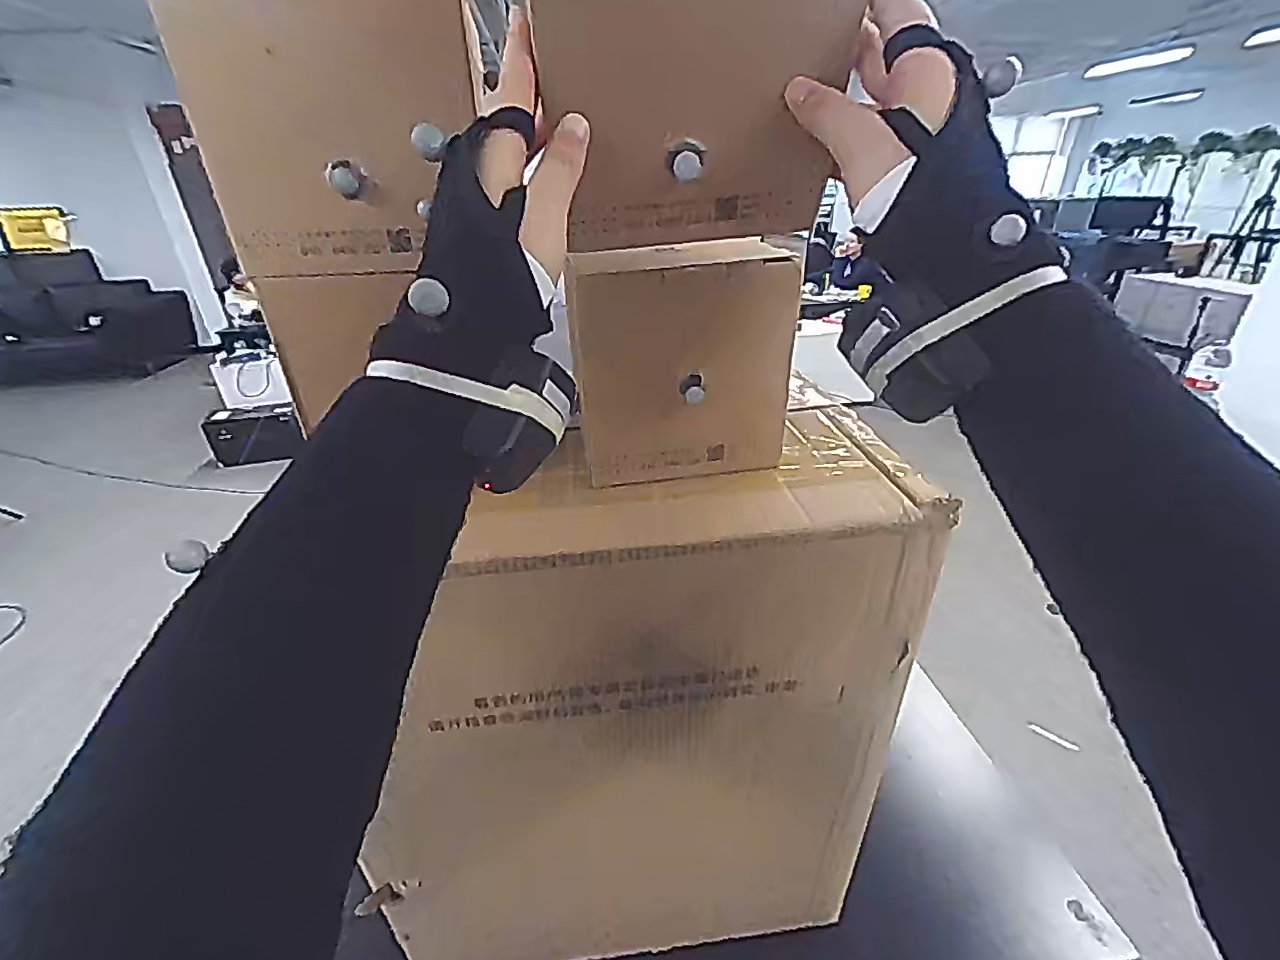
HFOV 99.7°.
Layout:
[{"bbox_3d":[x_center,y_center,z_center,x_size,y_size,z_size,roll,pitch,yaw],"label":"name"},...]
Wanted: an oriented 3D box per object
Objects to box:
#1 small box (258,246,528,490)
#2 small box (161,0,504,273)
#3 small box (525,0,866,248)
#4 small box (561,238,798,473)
[{"bbox_3d":[-0.194,-0.109,0.484,0.168,0.176,0.179,-7,31,-11],"label":"small box"},{"bbox_3d":[-0.198,-0.252,0.402,0.168,0.176,0.179,-6,29,-8],"label":"small box"},{"bbox_3d":[0.018,-0.267,0.331,0.168,0.176,0.179,-7,52,-3],"label":"small box"},{"bbox_3d":[0.023,-0.115,0.481,0.168,0.176,0.179,-6,31,-8],"label":"small box"}]
